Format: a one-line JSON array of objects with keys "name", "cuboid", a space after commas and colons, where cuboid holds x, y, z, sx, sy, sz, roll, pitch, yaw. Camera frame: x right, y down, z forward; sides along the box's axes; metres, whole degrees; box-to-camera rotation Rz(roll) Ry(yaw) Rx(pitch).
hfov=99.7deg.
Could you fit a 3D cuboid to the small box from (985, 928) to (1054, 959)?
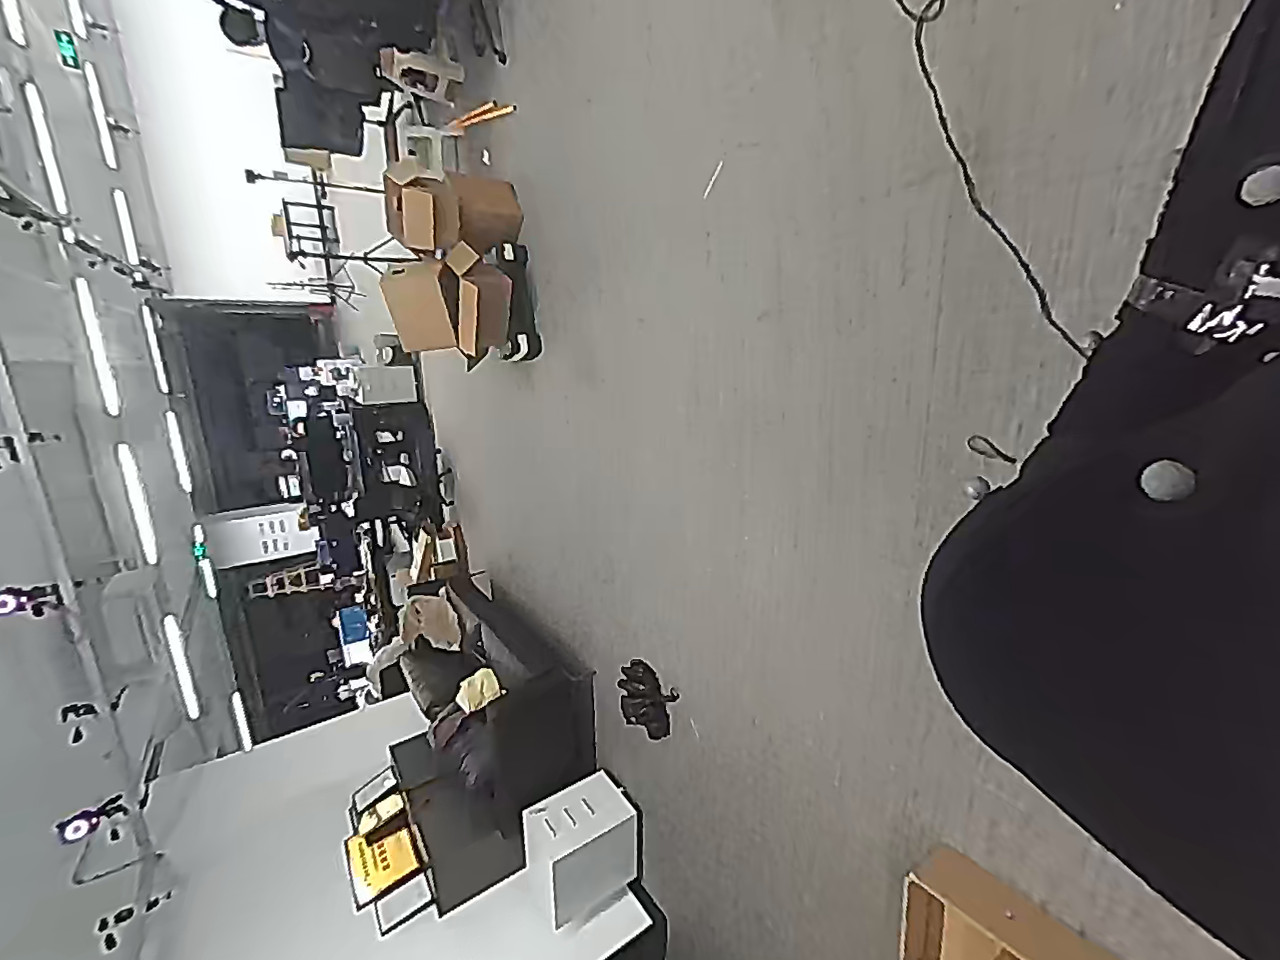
[{"name": "small box", "cuboid": [0.987, 1.314, 1.378, 0.168, 0.176, 0.179, 13, 112, 55]}]
